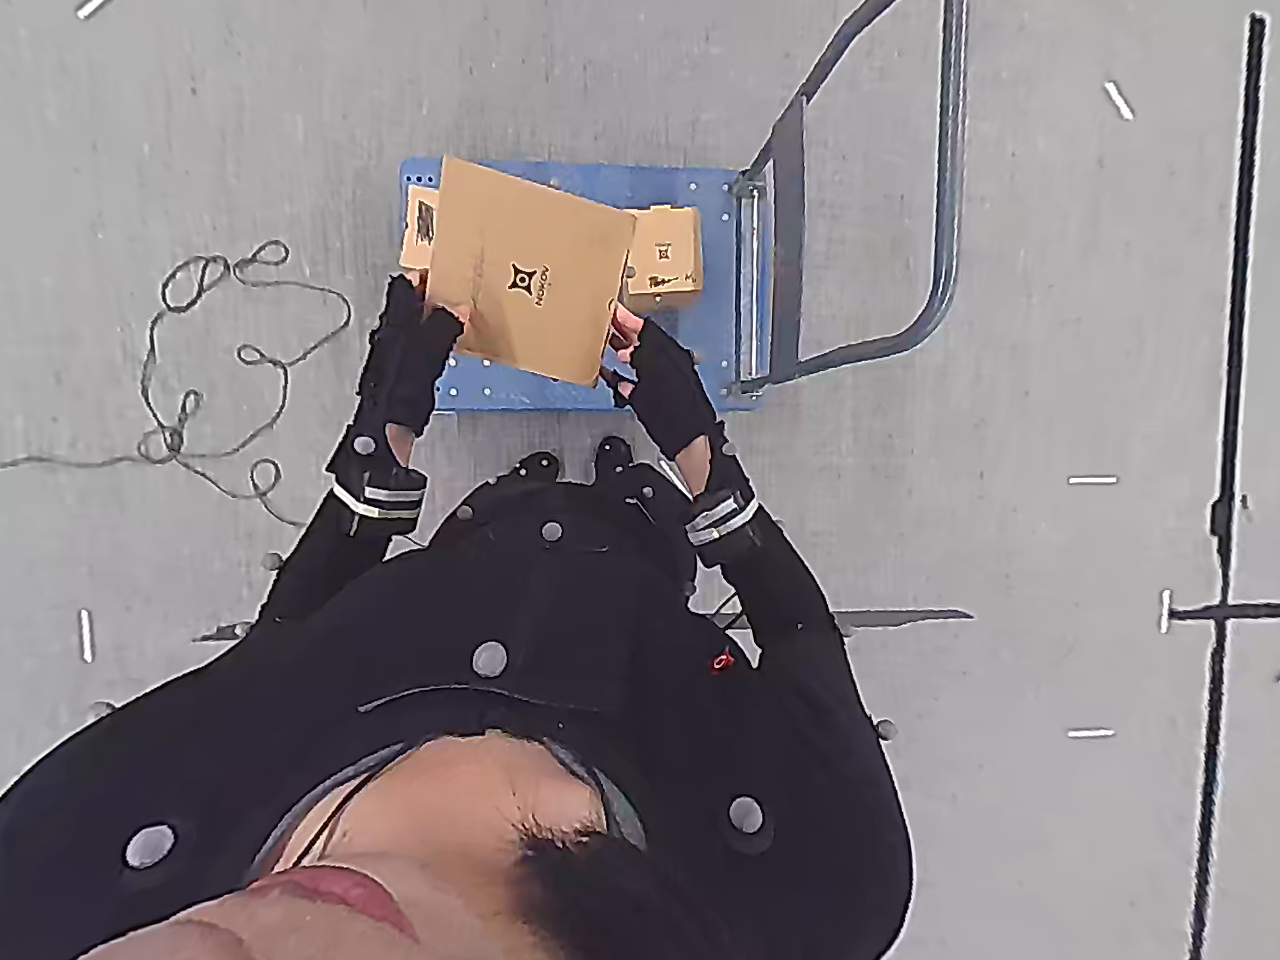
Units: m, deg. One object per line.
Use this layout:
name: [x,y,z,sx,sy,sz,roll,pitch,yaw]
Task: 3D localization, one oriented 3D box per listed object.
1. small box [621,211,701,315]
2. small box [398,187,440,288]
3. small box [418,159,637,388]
small box: [0.039,-0.486,1.231,0.168,0.176,0.179,-4,94,-4]
small box: [-0.404,-0.506,1.186,0.179,0.176,0.168,9,93,-7]
small box: [-0.114,-0.211,0.579,0.179,0.176,0.168,13,106,-10]
